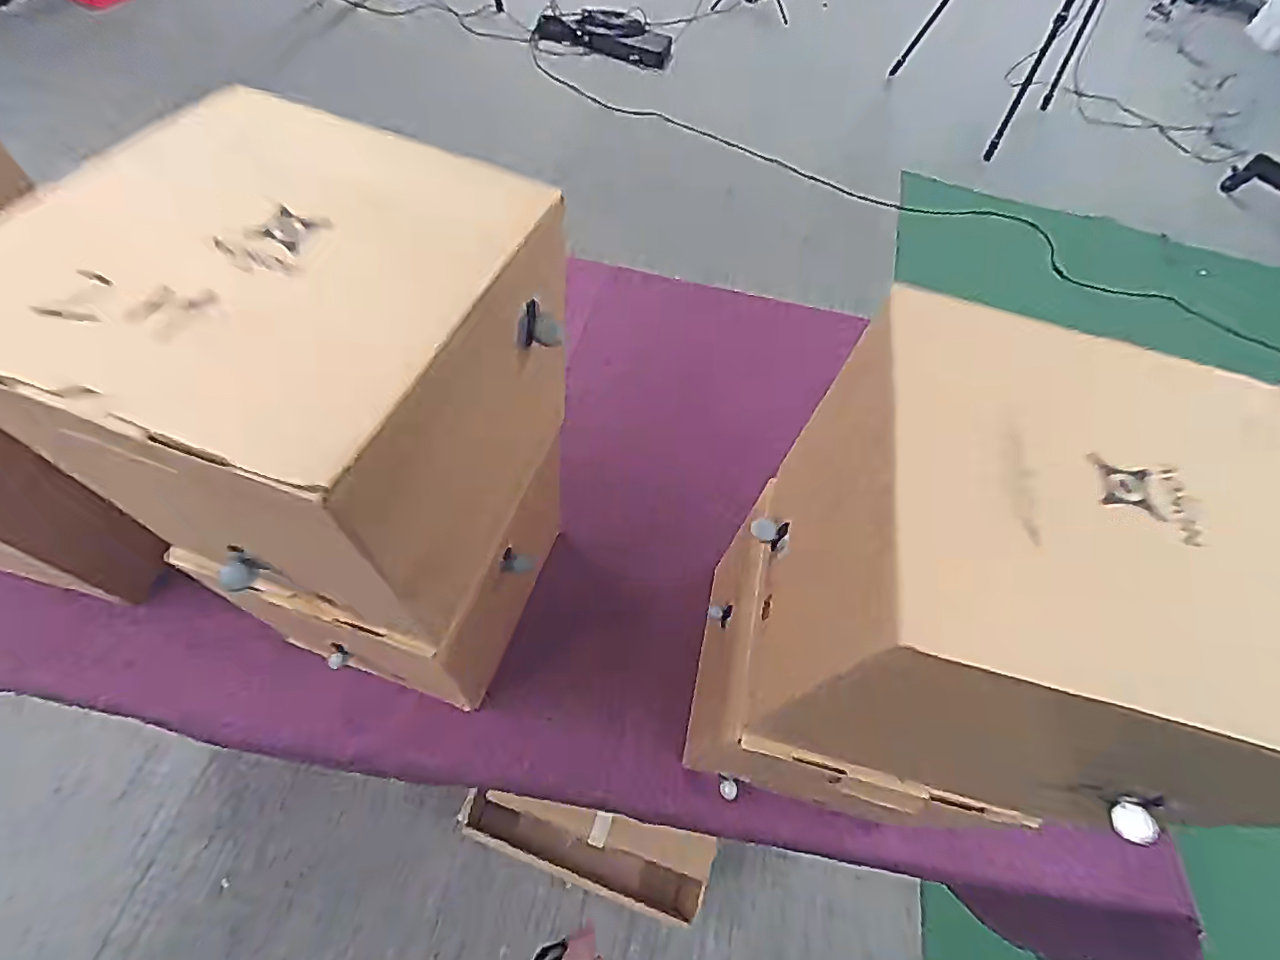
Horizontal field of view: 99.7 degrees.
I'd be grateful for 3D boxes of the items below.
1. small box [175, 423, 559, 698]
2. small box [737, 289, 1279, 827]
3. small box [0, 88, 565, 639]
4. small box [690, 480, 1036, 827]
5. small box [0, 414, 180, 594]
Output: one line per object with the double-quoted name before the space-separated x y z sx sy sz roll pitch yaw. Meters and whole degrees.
"small box" -0.170 0.043 0.409 0.168 0.176 0.179 19 60 4
"small box" 0.162 0.047 0.258 0.179 0.176 0.168 16 58 2
"small box" -0.147 -0.046 0.271 0.168 0.176 0.179 20 60 5
"small box" 0.139 0.131 0.396 0.168 0.176 0.179 15 58 1
"small box" -0.459 -0.030 0.409 0.179 0.176 0.168 15 60 2
